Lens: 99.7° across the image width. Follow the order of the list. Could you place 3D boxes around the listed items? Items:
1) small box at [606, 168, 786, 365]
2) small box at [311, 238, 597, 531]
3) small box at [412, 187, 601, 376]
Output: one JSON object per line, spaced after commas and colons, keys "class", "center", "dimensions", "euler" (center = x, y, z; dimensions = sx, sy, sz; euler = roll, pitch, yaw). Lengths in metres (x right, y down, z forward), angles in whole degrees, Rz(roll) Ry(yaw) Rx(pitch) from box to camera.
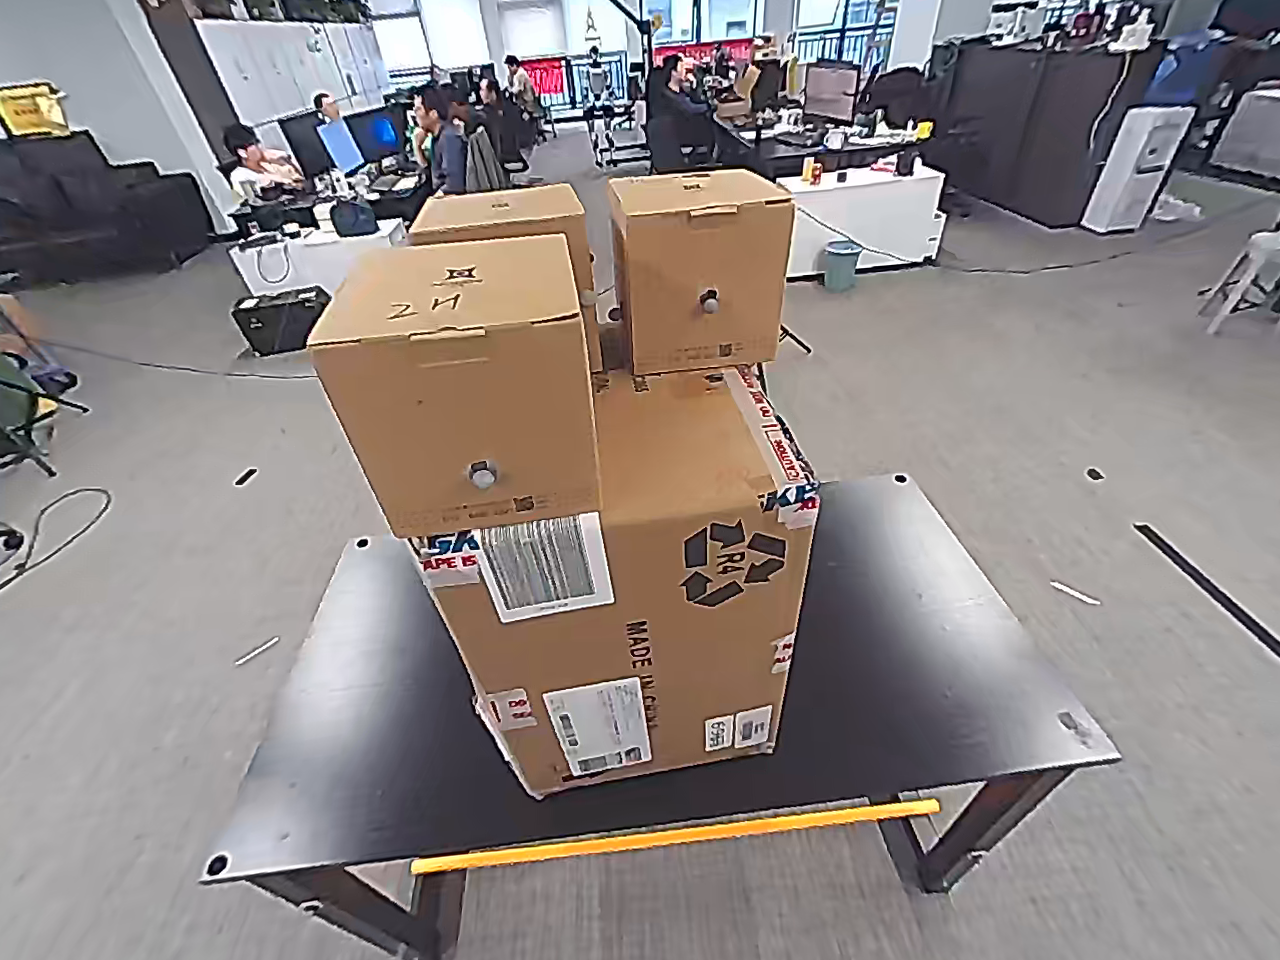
{"class": "small box", "center": [0.055, -0.242, 0.624], "dimensions": [0.168, 0.176, 0.179], "euler": [-7, 40, -5]}
{"class": "small box", "center": [-0.130, -0.083, 0.448], "dimensions": [0.168, 0.176, 0.179], "euler": [-8, 41, -5]}
{"class": "small box", "center": [-0.144, -0.223, 0.623], "dimensions": [0.168, 0.176, 0.179], "euler": [-11, 39, -7]}
